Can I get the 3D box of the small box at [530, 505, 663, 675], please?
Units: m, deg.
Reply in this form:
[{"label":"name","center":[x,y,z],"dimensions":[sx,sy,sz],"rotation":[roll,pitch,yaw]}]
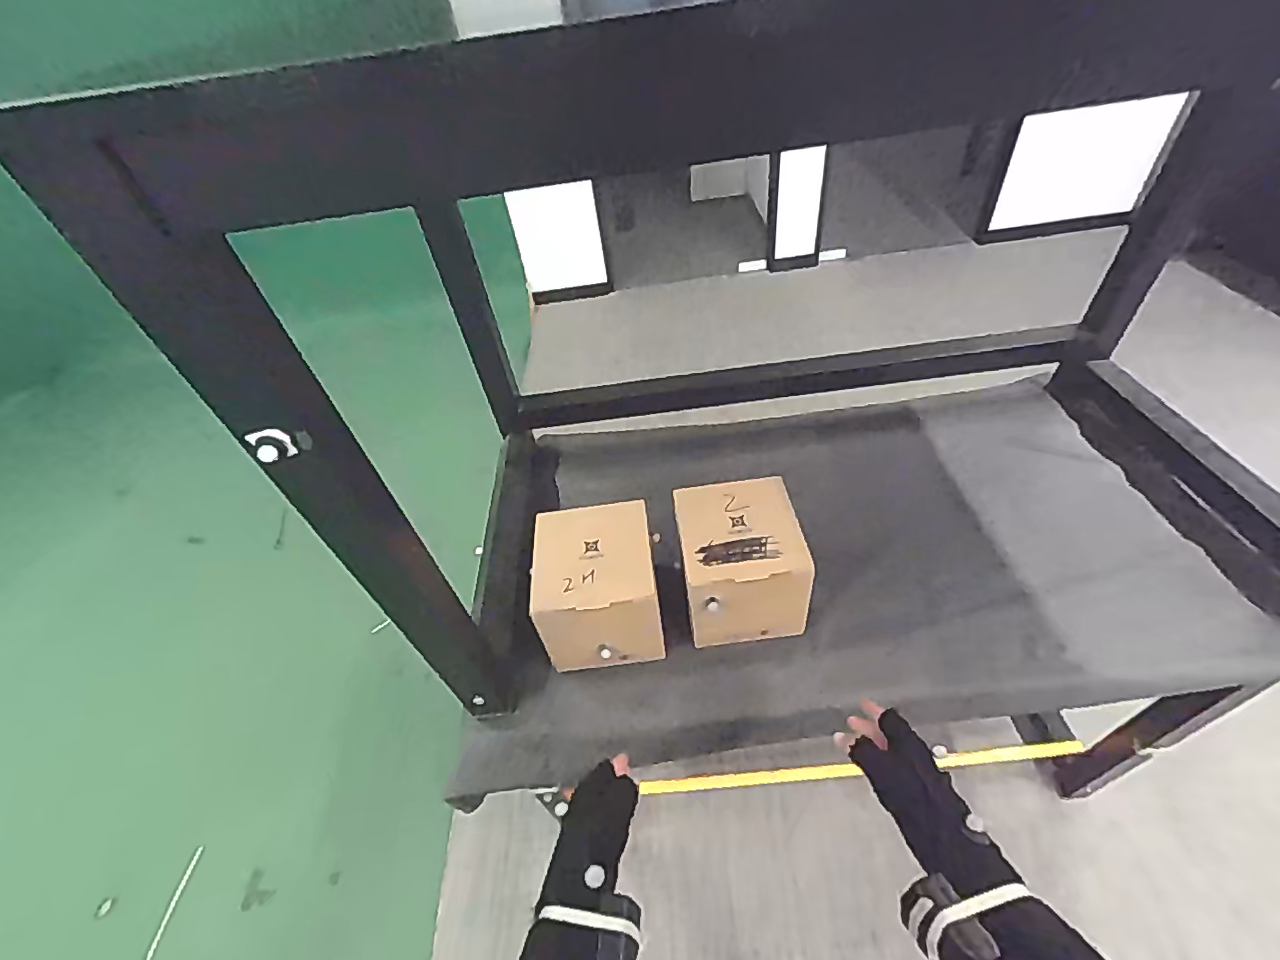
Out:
[{"label":"small box","center":[-0.059,0.164,0.806],"dimensions":[0.168,0.176,0.179],"rotation":[-8,44,1]}]
